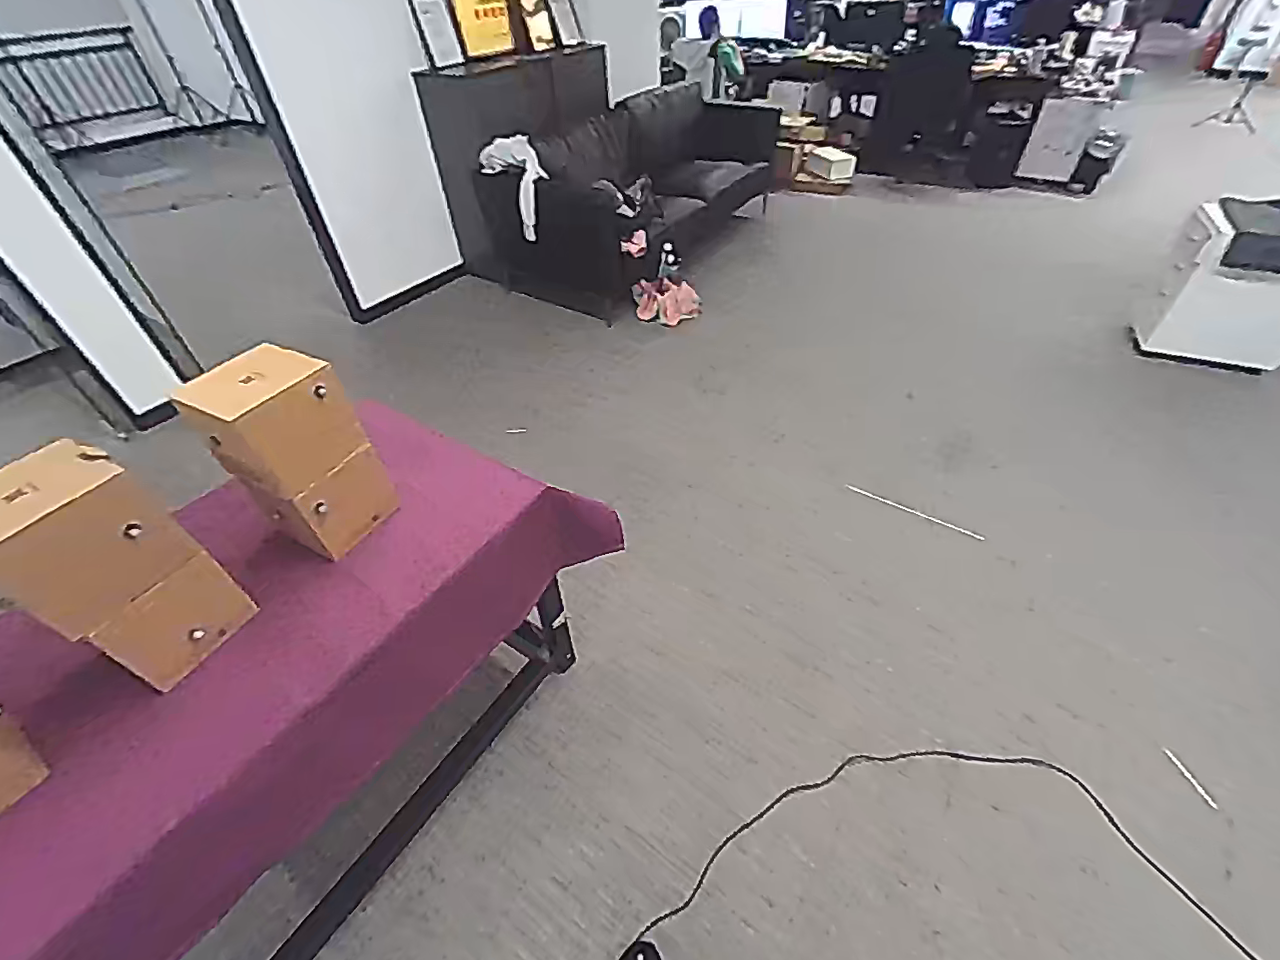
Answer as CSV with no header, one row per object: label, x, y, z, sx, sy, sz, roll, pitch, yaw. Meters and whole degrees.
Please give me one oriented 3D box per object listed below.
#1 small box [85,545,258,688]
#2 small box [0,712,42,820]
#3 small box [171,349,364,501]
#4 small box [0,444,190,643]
small box,-0.767,0.199,0.855,0.179,0.176,0.168,18,49,20
small box,-0.927,0.379,0.678,0.168,0.176,0.179,22,49,24
small box,-0.611,-0.093,0.912,0.168,0.176,0.179,18,48,21
small box,-0.773,0.084,0.739,0.168,0.176,0.179,19,49,22
